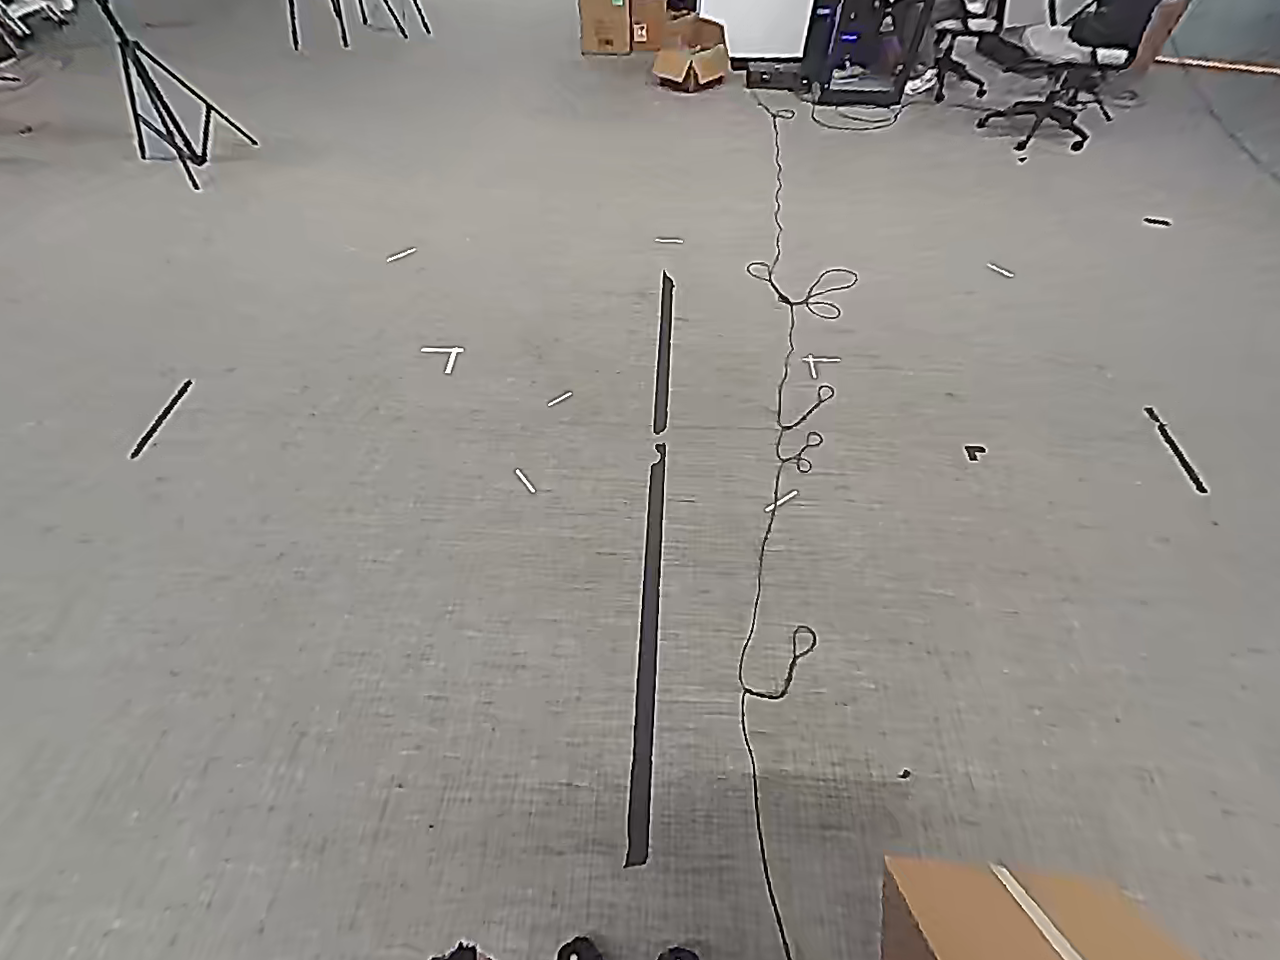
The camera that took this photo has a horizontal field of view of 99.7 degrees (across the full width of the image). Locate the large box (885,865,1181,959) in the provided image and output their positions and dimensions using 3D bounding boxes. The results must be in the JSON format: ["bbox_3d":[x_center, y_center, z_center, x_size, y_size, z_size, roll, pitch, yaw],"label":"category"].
[{"bbox_3d":[0.487,0.717,0.578,0.320,0.408,0.320,3,89,6],"label":"large box"}]
